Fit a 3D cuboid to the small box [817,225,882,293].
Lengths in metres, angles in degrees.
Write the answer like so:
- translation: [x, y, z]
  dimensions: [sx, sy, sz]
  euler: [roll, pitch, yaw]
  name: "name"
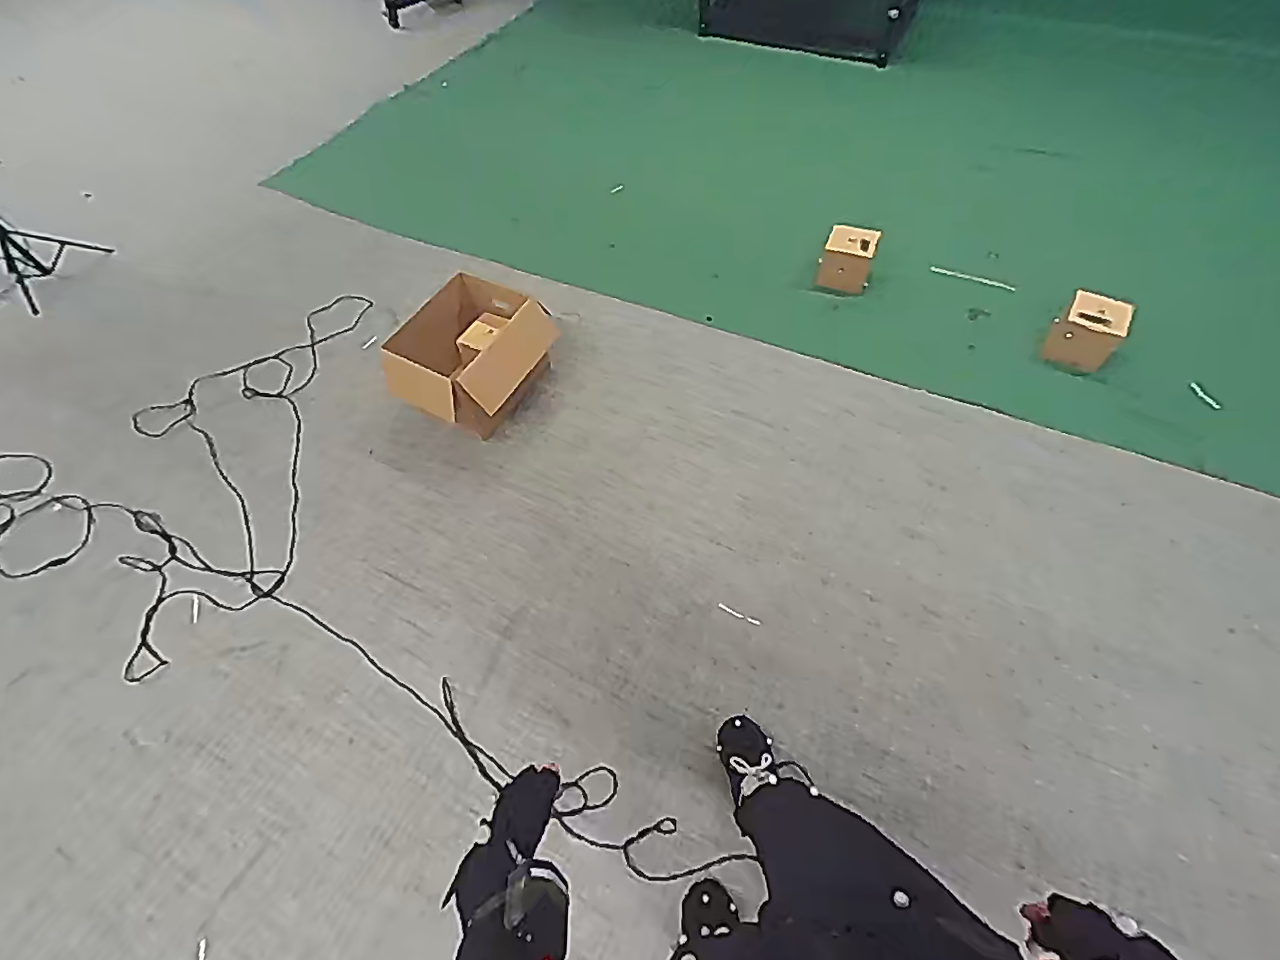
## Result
- translation: [0.805, -0.848, 2.086]
  dimensions: [0.179, 0.176, 0.168]
  euler: [19, 61, 17]
  name: "small box"
